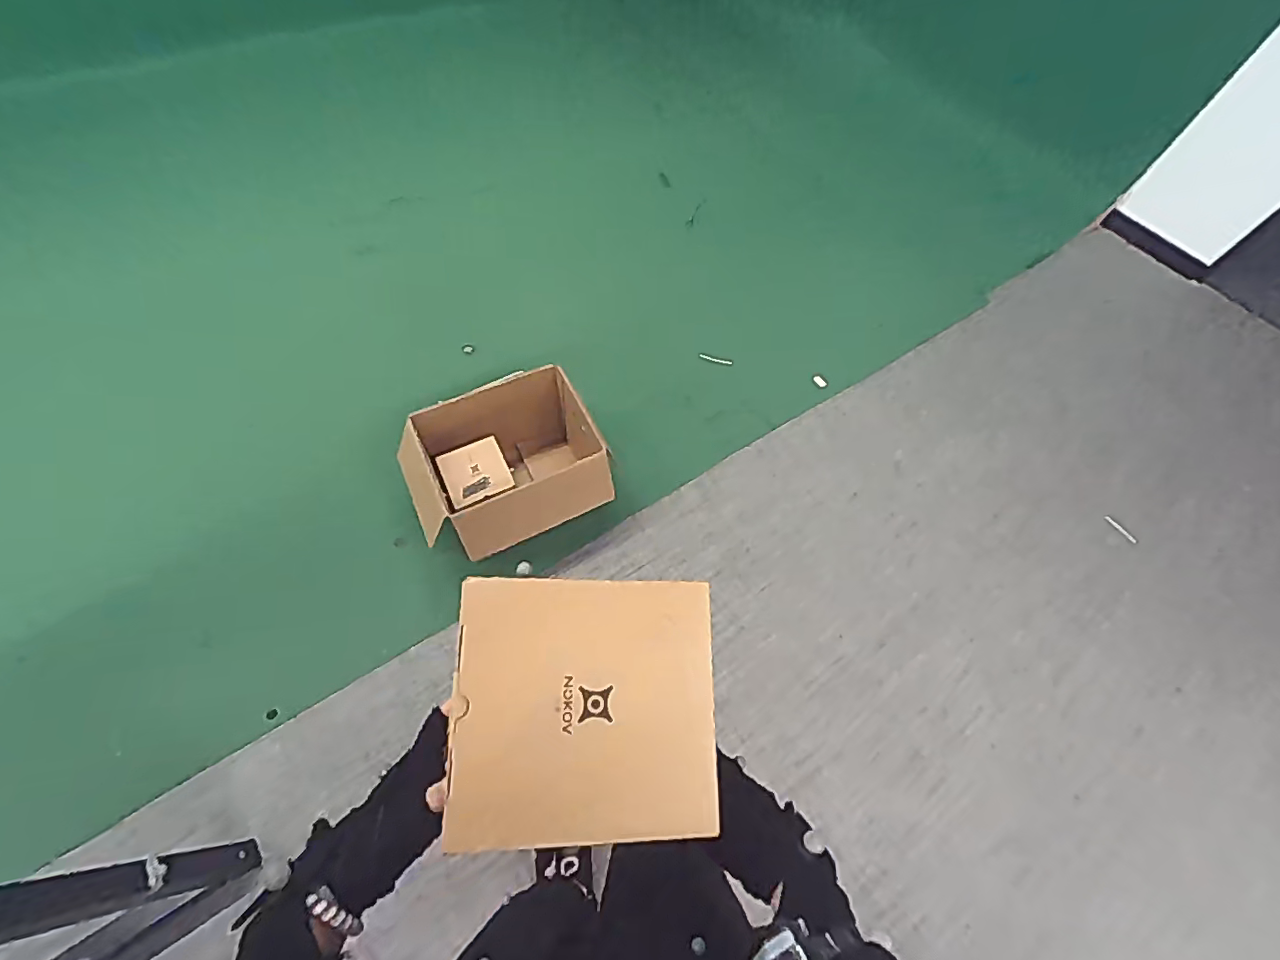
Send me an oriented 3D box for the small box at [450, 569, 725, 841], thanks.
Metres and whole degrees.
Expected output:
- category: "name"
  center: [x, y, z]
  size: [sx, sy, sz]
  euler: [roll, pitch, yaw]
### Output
- category: "small box"
  center: [-0.043, 0.164, 0.436]
  size: [0.179, 0.176, 0.168]
  euler: [2, 74, -9]
